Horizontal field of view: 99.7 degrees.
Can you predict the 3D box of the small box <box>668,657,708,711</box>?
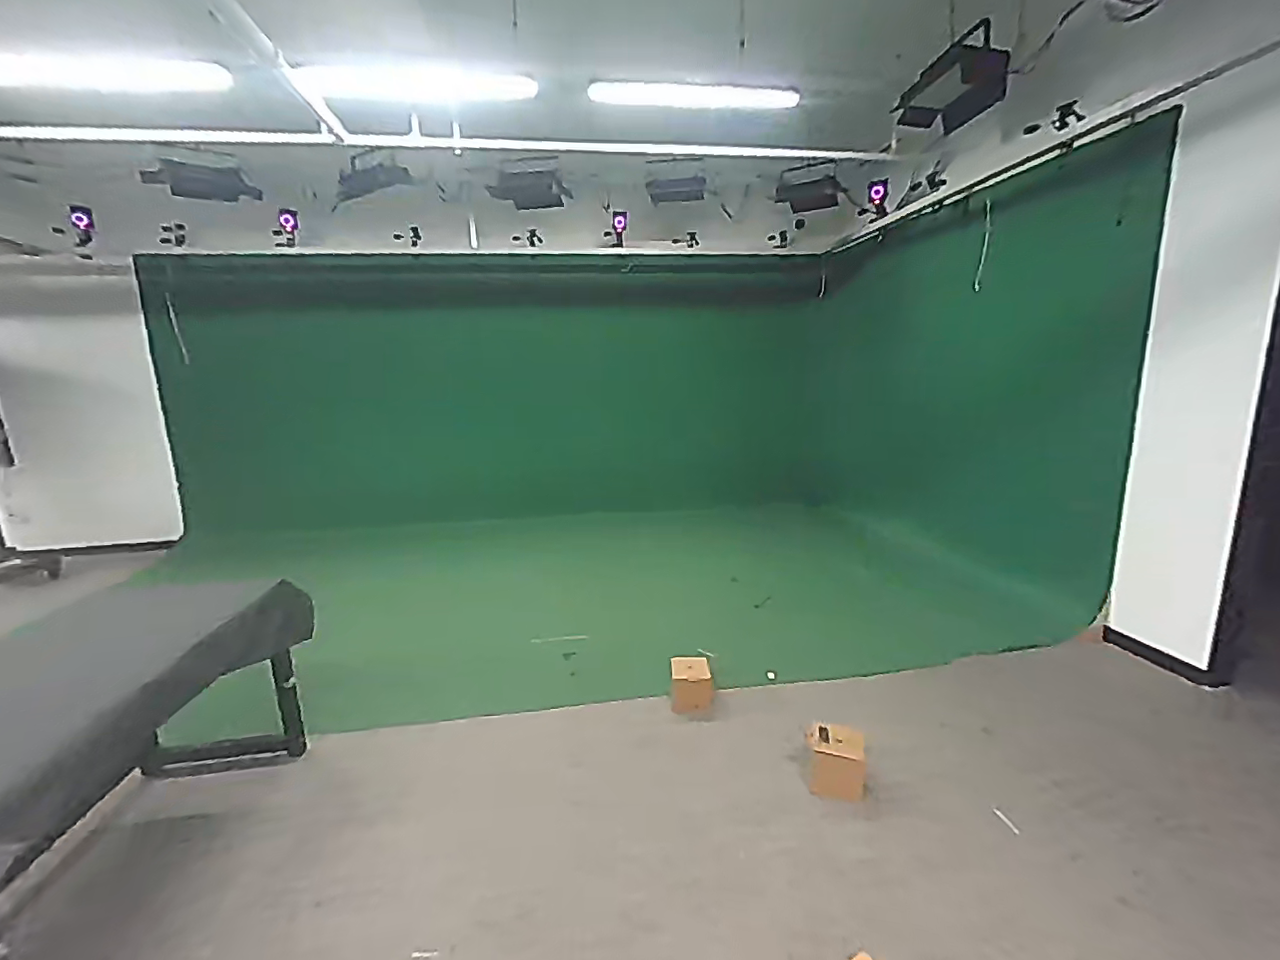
[{"bbox_3d":[0.213,0.914,2.420,0.168,0.176,0.179,0,11,0],"label":"small box"}]
